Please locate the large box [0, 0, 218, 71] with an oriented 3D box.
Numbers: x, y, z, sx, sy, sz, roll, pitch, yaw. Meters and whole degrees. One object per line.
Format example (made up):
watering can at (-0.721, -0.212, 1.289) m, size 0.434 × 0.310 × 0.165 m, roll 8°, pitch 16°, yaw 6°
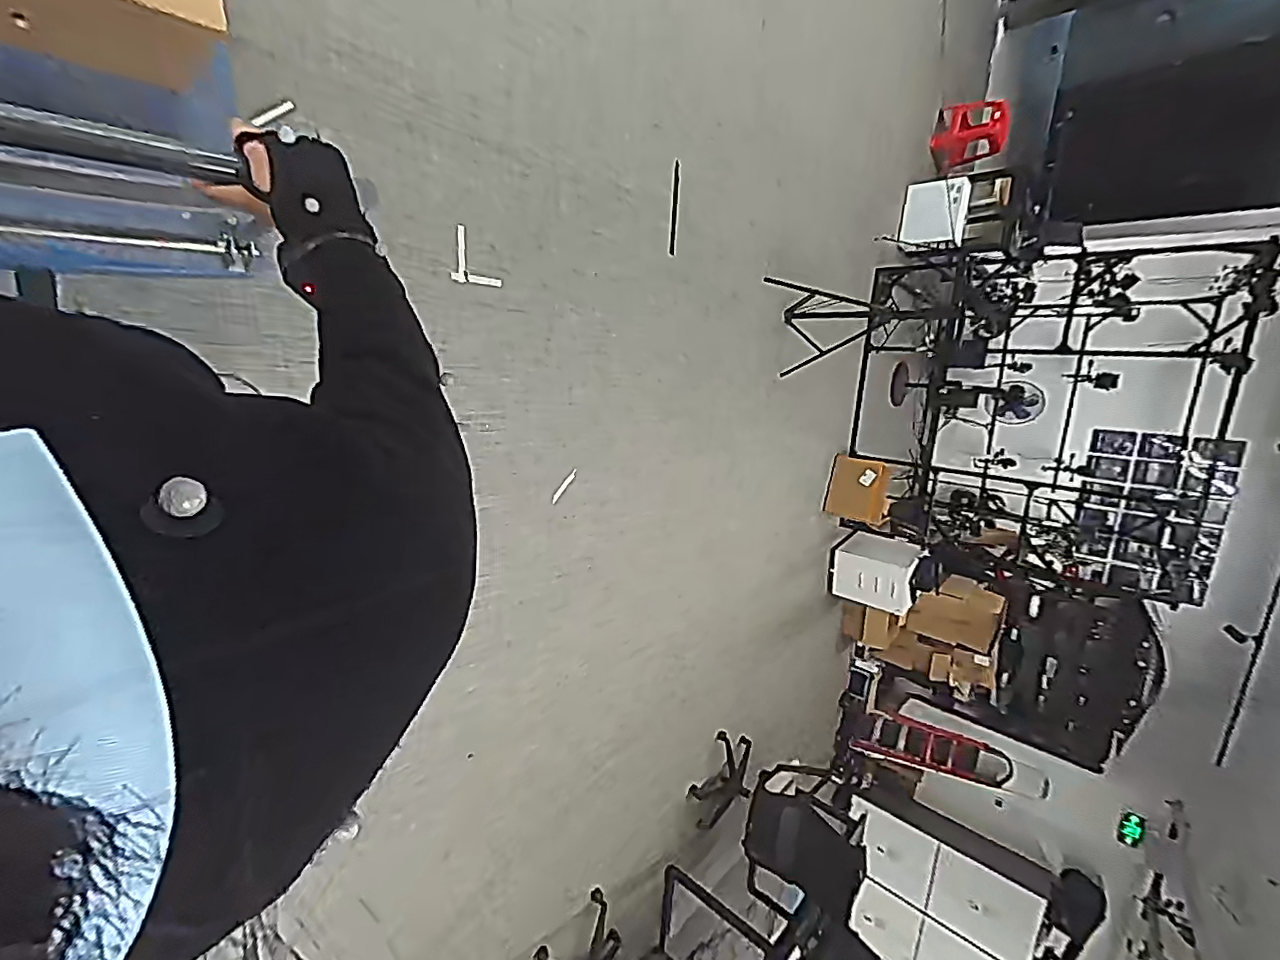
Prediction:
large box at (-0.845, -0.803, 0.692) m, size 0.408 × 0.320 × 0.320 m, roll -15°, pitch 111°, yaw -46°
